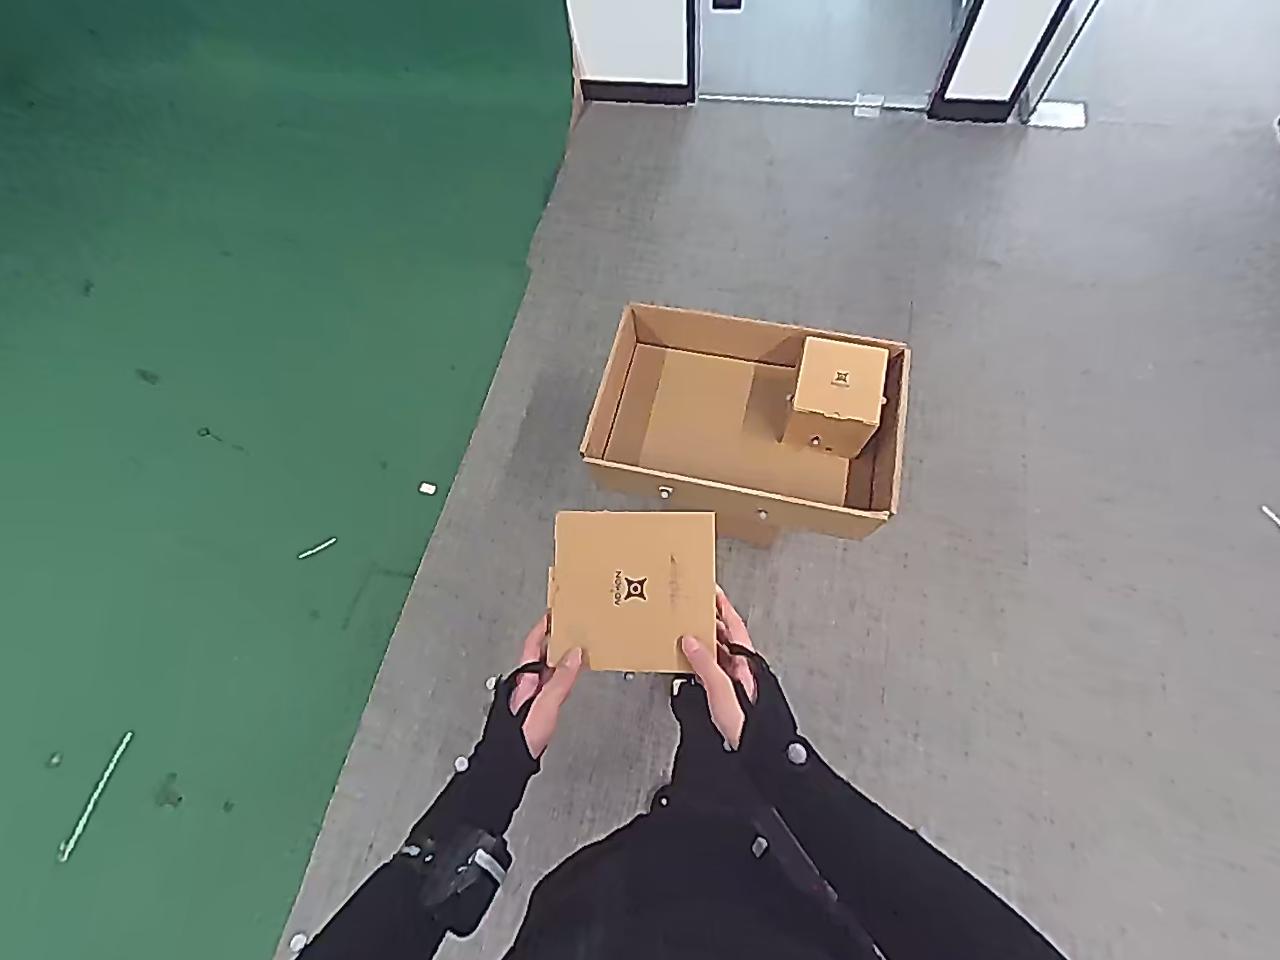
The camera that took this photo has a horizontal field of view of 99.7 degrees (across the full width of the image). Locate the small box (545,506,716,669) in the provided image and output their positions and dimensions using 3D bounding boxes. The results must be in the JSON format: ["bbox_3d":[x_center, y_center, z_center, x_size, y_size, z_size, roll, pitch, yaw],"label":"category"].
[{"bbox_3d":[-0.001,0.129,0.642,0.179,0.176,0.168,1,76,5],"label":"small box"}]

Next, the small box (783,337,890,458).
[{"bbox_3d":[0.408,-0.169,1.143,0.168,0.176,0.179,13,72,10],"label":"small box"}]
